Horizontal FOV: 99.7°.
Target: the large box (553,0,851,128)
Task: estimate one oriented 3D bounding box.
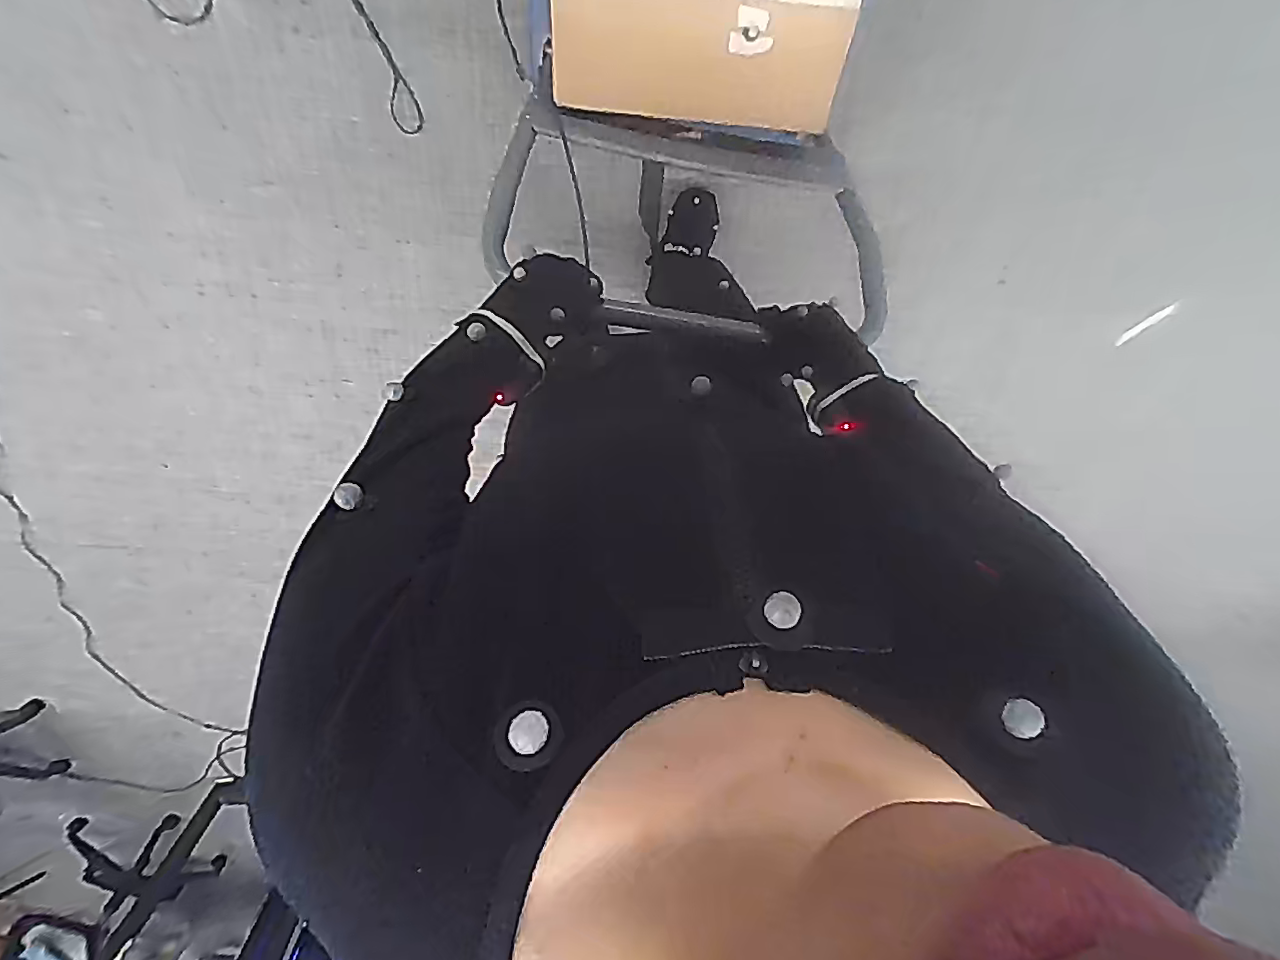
[{"bbox_3d":[0.082,-0.759,0.805,0.408,0.320,0.320,3,139,-3],"label":"large box"}]
